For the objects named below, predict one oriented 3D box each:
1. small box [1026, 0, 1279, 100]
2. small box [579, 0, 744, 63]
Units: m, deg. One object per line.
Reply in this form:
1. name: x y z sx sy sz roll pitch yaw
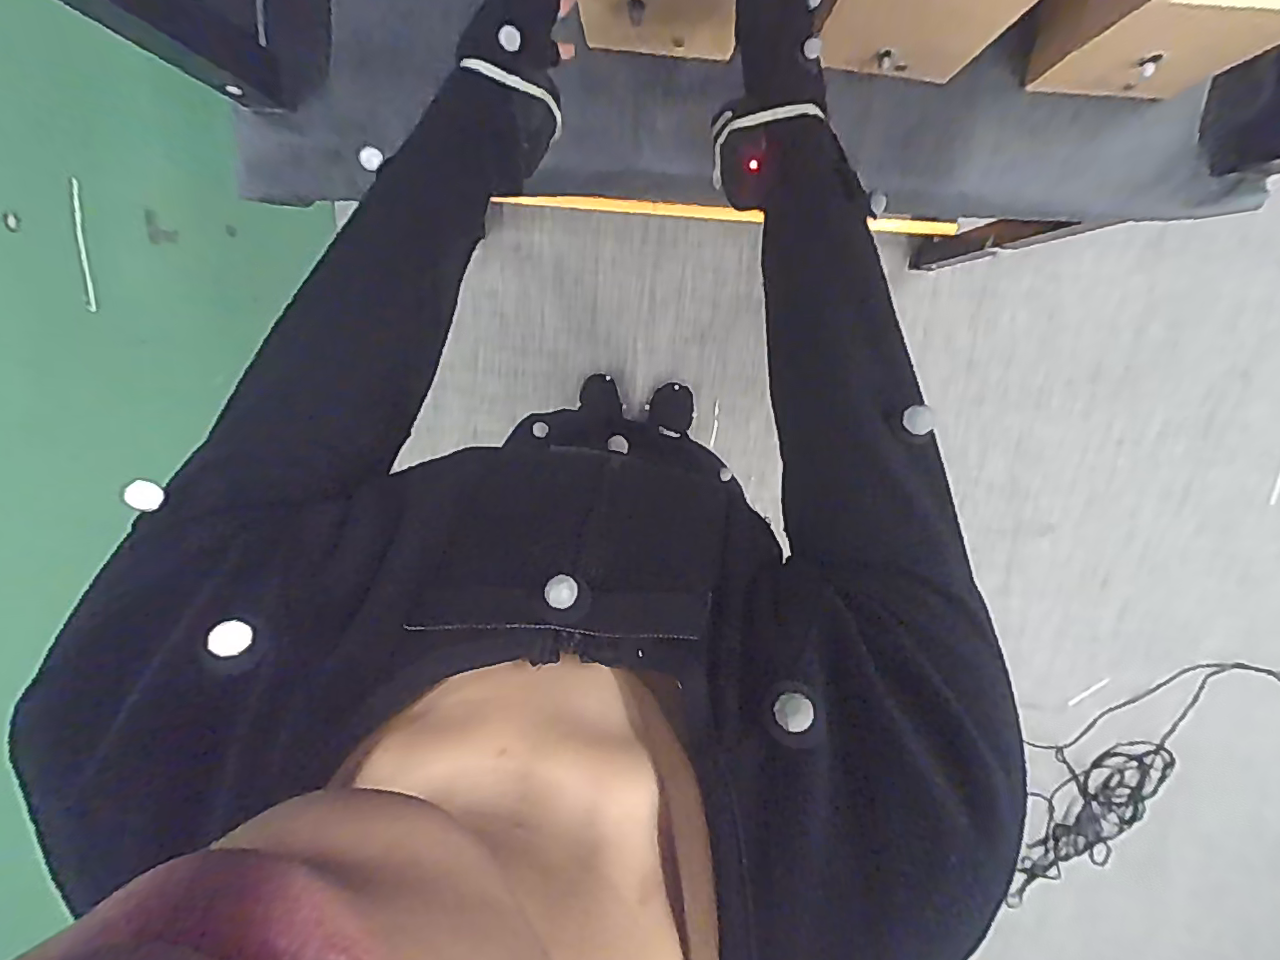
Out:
1. small box: 0.520 -0.502 0.524 0.168 0.176 0.179 4 103 0
2. small box: 0.028 -0.547 0.526 0.168 0.176 0.179 5 104 0
